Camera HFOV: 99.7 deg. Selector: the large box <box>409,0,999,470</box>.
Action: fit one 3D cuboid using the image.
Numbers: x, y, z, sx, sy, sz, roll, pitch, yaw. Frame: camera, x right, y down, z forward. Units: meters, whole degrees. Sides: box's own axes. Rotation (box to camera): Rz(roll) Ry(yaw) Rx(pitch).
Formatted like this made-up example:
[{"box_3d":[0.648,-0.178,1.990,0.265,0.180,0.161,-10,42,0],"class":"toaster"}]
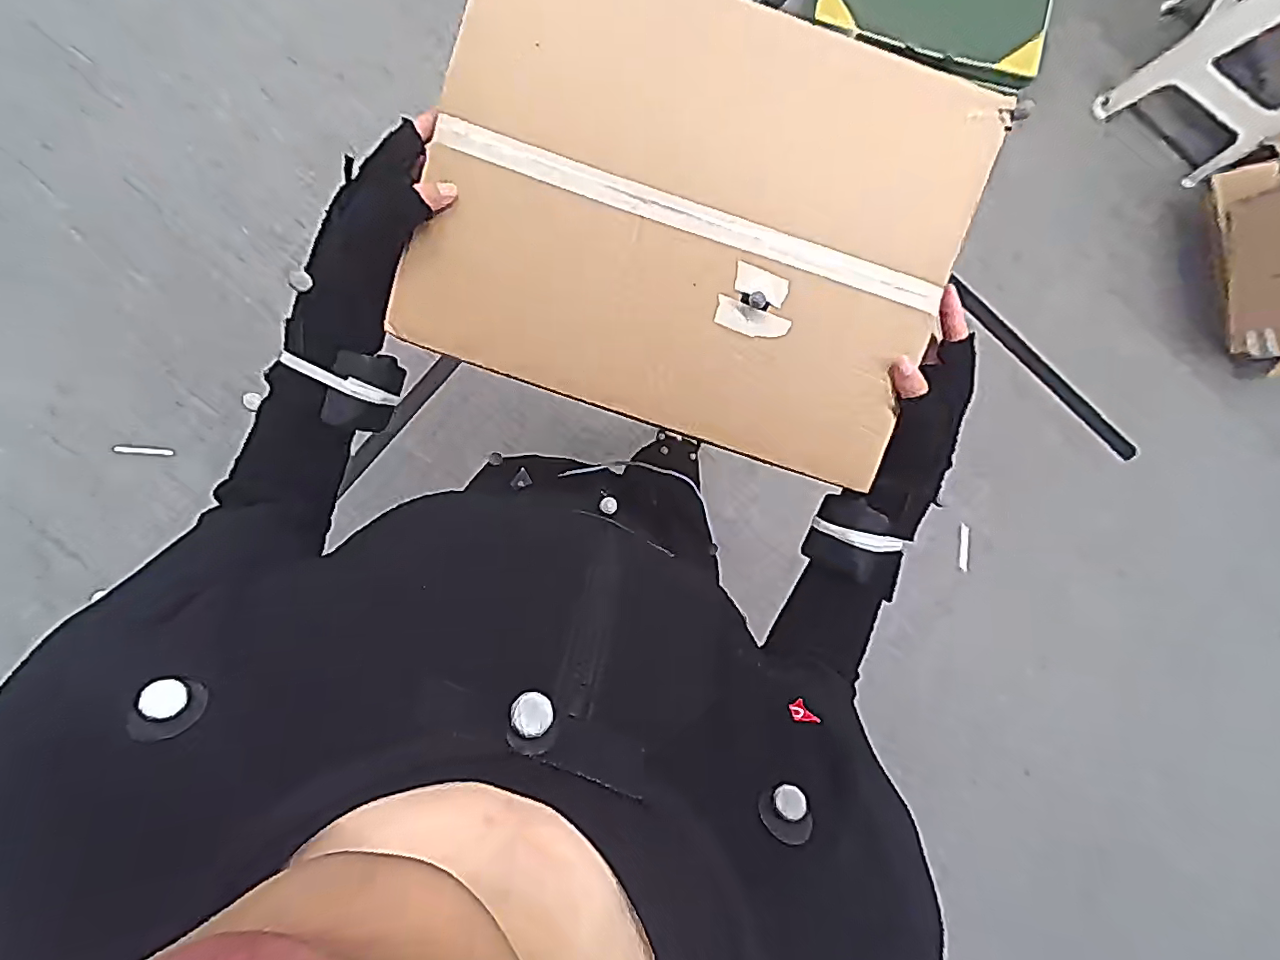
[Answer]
[{"box_3d":[0.043,-0.227,0.574,0.408,0.320,0.320,19,97,-3],"class":"large box"}]
